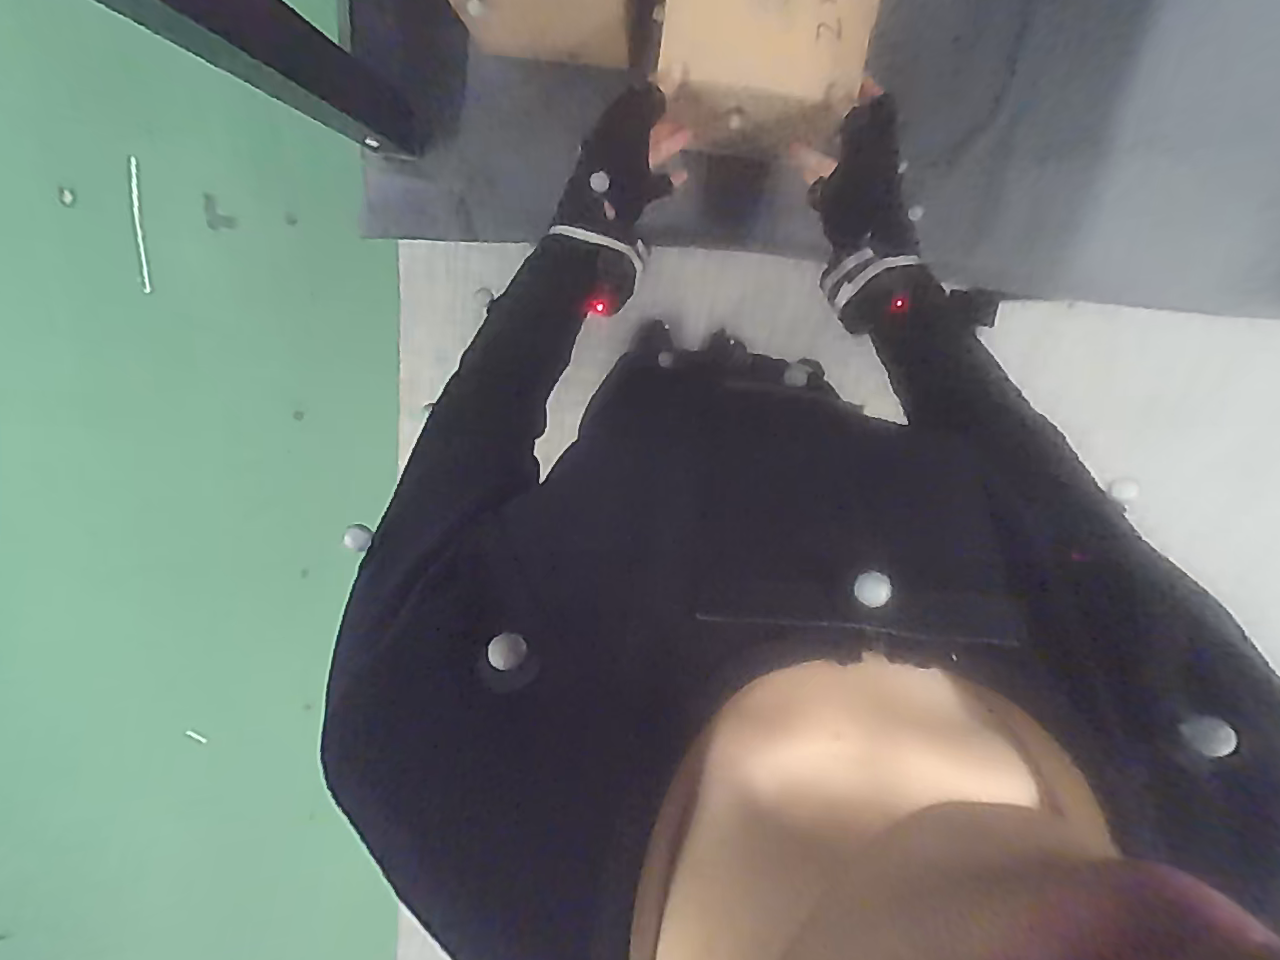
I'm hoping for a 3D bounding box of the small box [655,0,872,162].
[{"bbox_3d":[0.111,-0.434,0.530,0.179,0.176,0.168,7,105,-1],"label":"small box"}]
